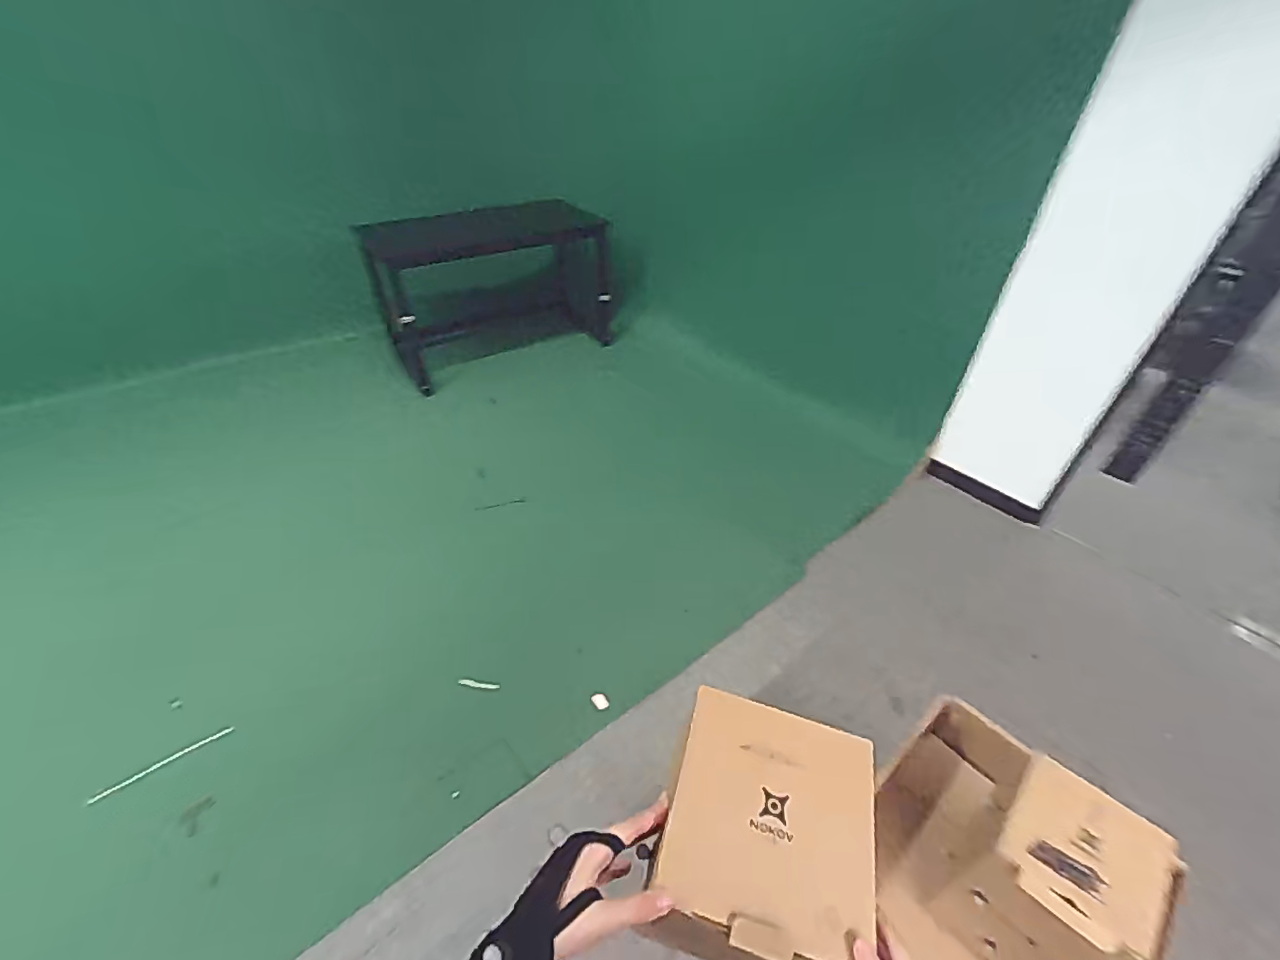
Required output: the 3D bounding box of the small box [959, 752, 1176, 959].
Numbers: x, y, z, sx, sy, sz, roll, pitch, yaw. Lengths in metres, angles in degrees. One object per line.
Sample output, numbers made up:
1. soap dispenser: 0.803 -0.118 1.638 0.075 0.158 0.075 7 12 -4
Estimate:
1. small box: 0.578 0.533 0.752 0.179 0.176 0.168 -33 51 -32
